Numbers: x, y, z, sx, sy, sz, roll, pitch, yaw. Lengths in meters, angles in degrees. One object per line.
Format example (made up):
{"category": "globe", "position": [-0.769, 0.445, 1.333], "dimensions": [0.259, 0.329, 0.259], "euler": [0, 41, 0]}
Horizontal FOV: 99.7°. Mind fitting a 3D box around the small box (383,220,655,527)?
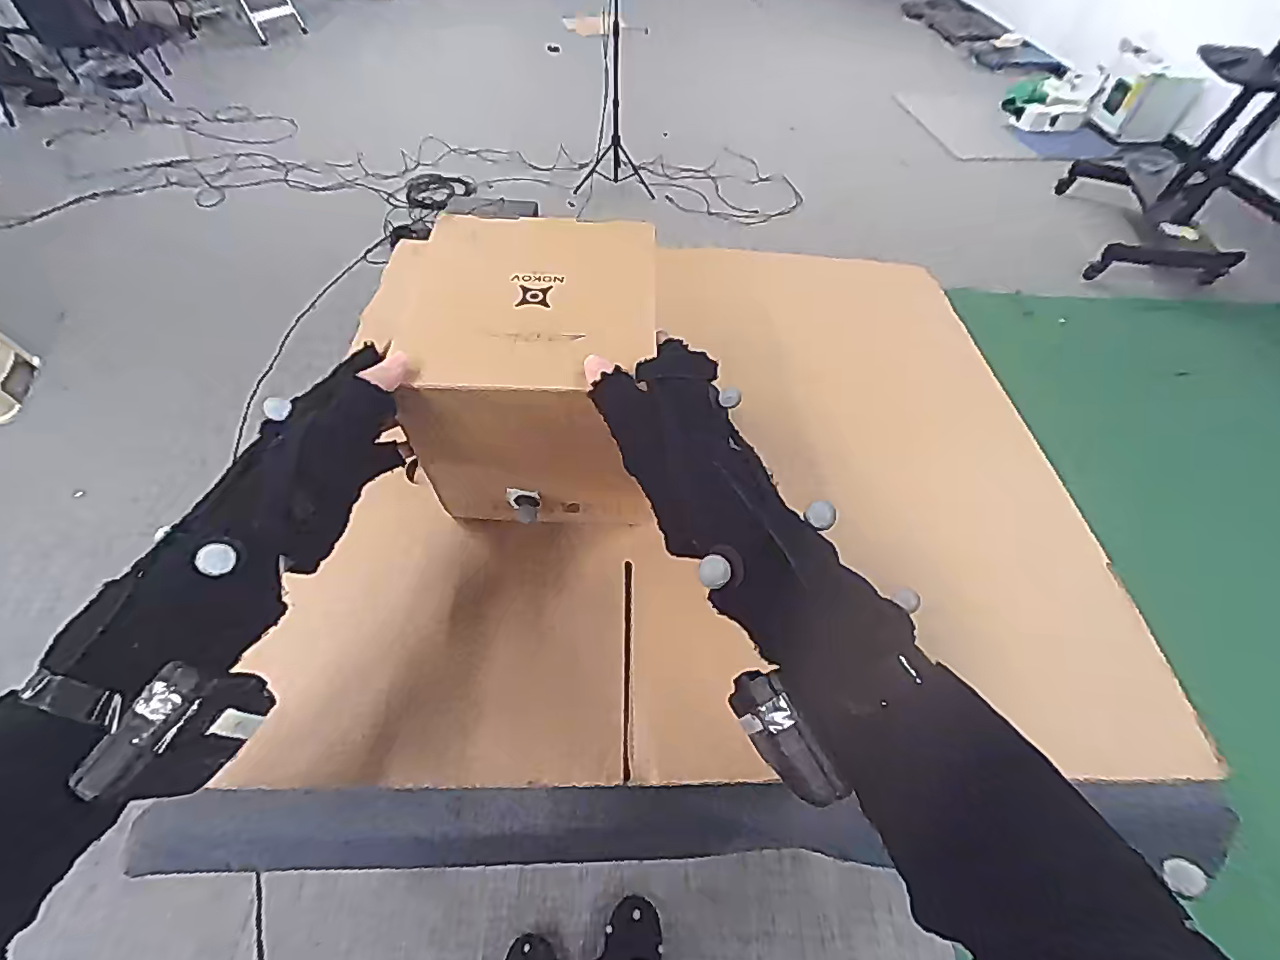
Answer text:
{"category": "small box", "position": [-0.076, -0.080, 0.439], "dimensions": [0.168, 0.176, 0.179], "euler": [2, 57, -1]}
